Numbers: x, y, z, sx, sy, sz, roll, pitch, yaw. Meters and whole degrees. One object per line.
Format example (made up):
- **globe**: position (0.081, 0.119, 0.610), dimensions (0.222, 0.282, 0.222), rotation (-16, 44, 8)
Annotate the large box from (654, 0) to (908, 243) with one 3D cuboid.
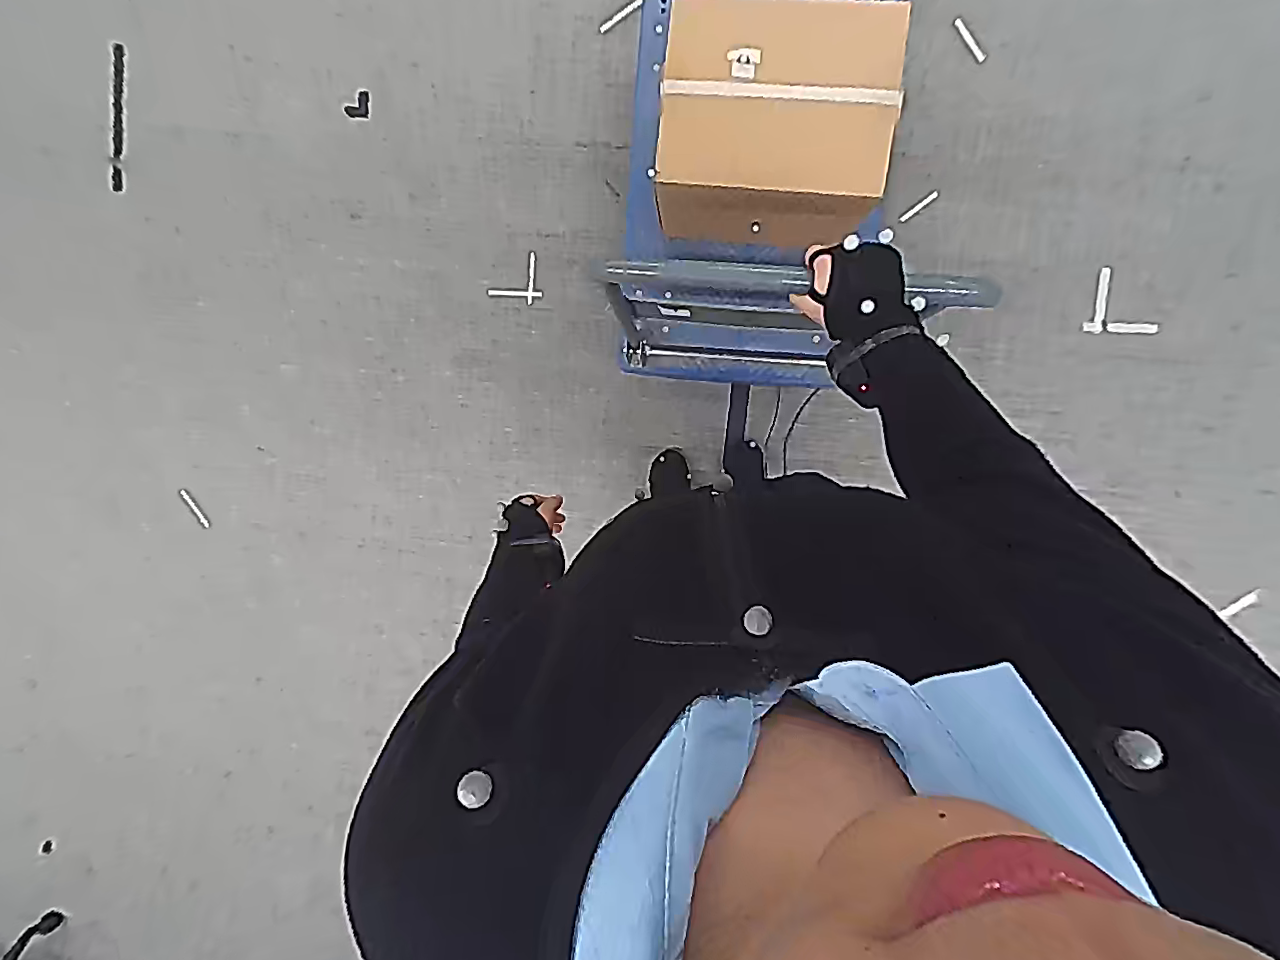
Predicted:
- **large box**: position (0.253, -0.681, 1.071), dimensions (0.408, 0.320, 0.320), rotation (7, 96, 6)
